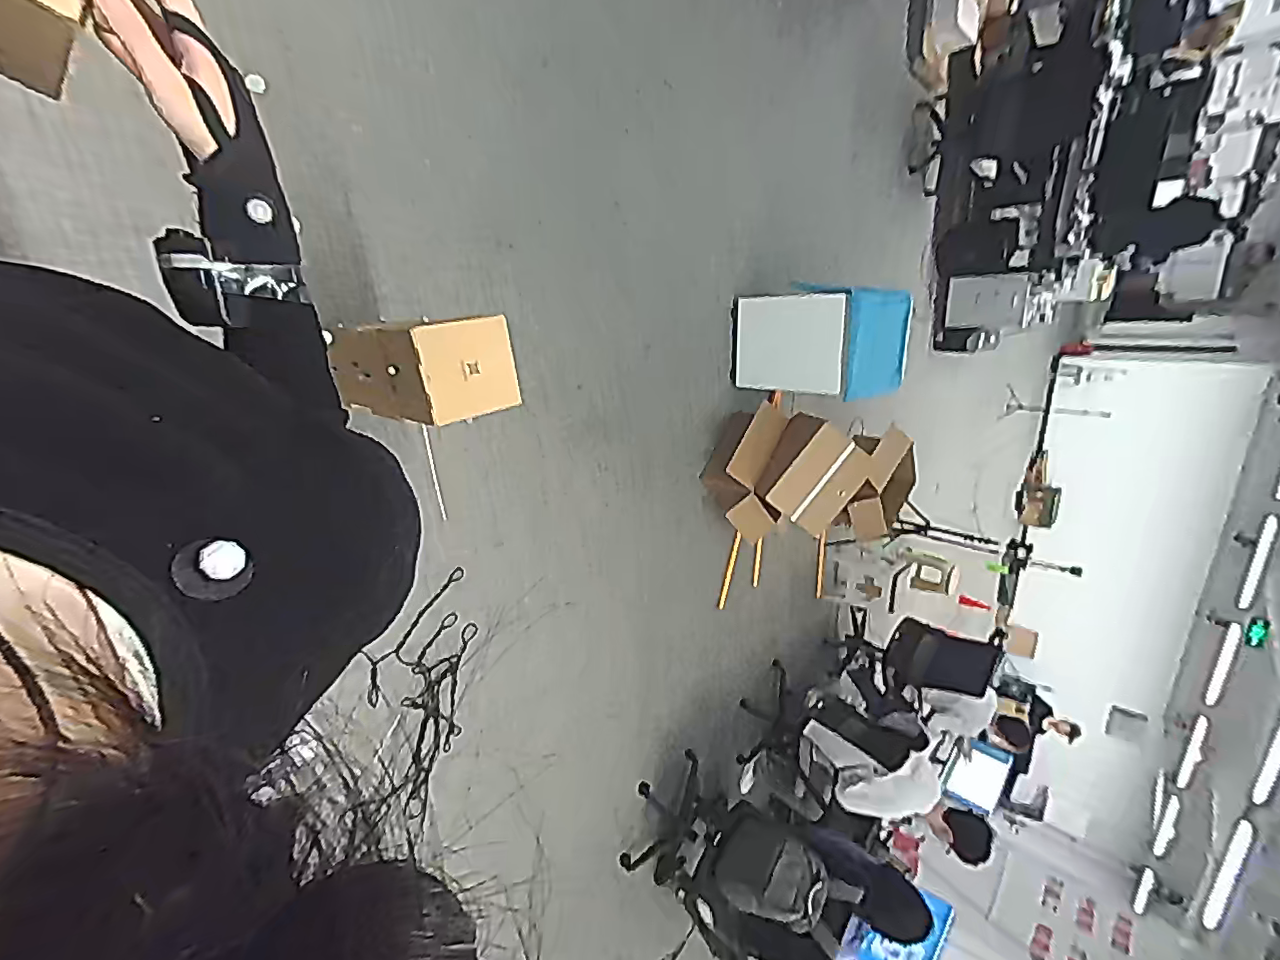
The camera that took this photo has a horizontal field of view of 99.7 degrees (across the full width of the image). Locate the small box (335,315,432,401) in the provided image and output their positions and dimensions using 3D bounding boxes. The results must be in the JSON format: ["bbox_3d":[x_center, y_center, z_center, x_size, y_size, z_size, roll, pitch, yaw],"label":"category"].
[{"bbox_3d":[-0.566,-0.276,1.225,0.168,0.176,0.179,-22,116,-40],"label":"small box"}]

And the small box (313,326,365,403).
[{"bbox_3d":[-0.682,-0.296,1.340,0.168,0.176,0.179,-23,117,-41],"label":"small box"}]

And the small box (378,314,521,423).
[{"bbox_3d":[-0.347,-0.212,0.990,0.179,0.176,0.168,-24,116,-38],"label":"small box"}]

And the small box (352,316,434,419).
[{"bbox_3d":[-0.460,-0.237,1.106,0.168,0.176,0.179,-24,118,-40],"label":"small box"}]
